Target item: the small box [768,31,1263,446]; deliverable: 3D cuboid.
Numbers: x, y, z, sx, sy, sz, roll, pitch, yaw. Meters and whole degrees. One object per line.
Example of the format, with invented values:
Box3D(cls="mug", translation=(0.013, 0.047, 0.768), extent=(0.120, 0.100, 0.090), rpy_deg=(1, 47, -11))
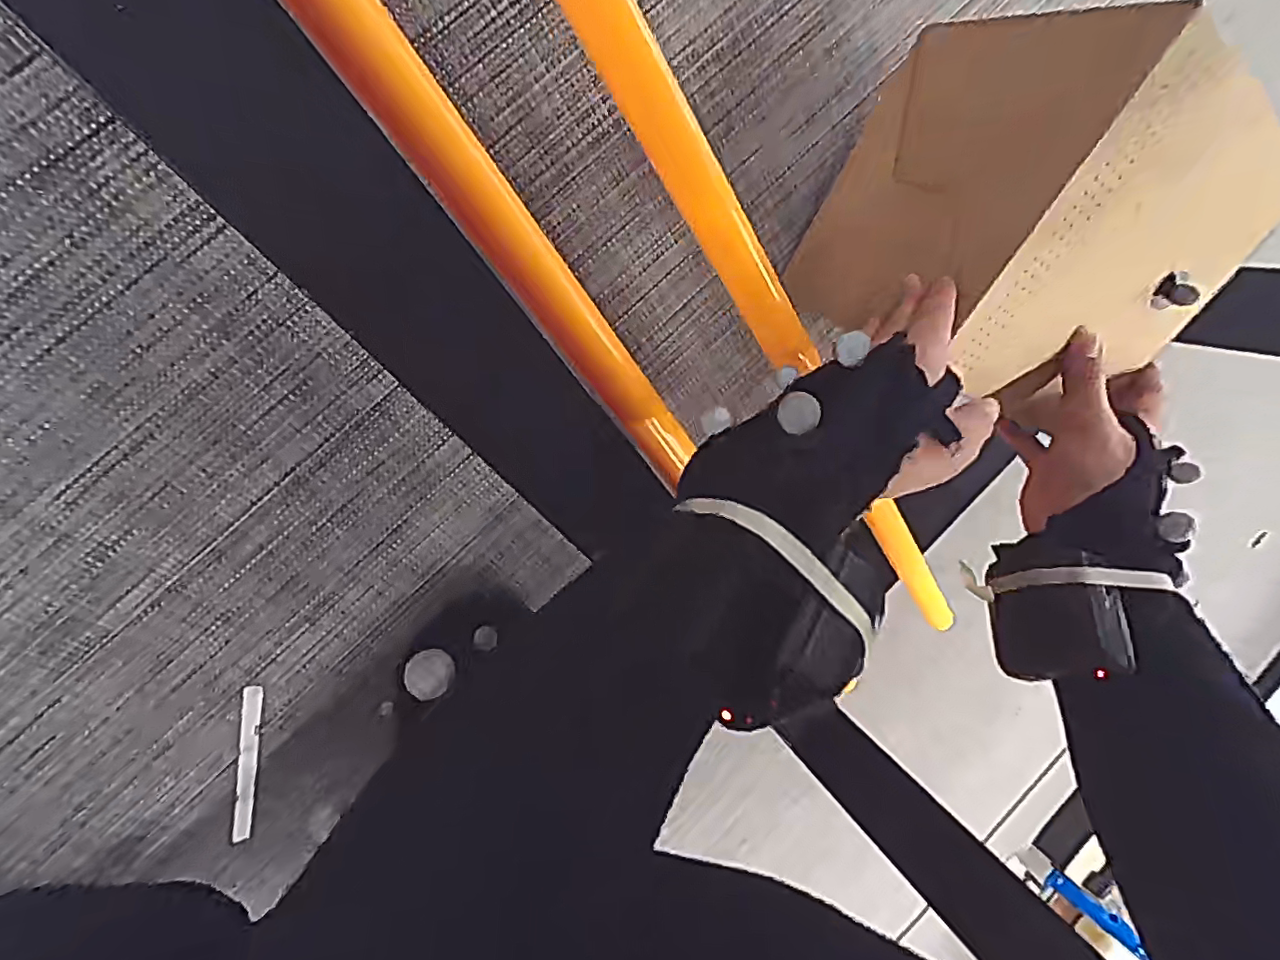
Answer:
Box3D(cls="small box", translation=(0.223, -0.152, 0.360), extent=(0.176, 0.168, 0.179), rpy_deg=(16, 119, -29))
